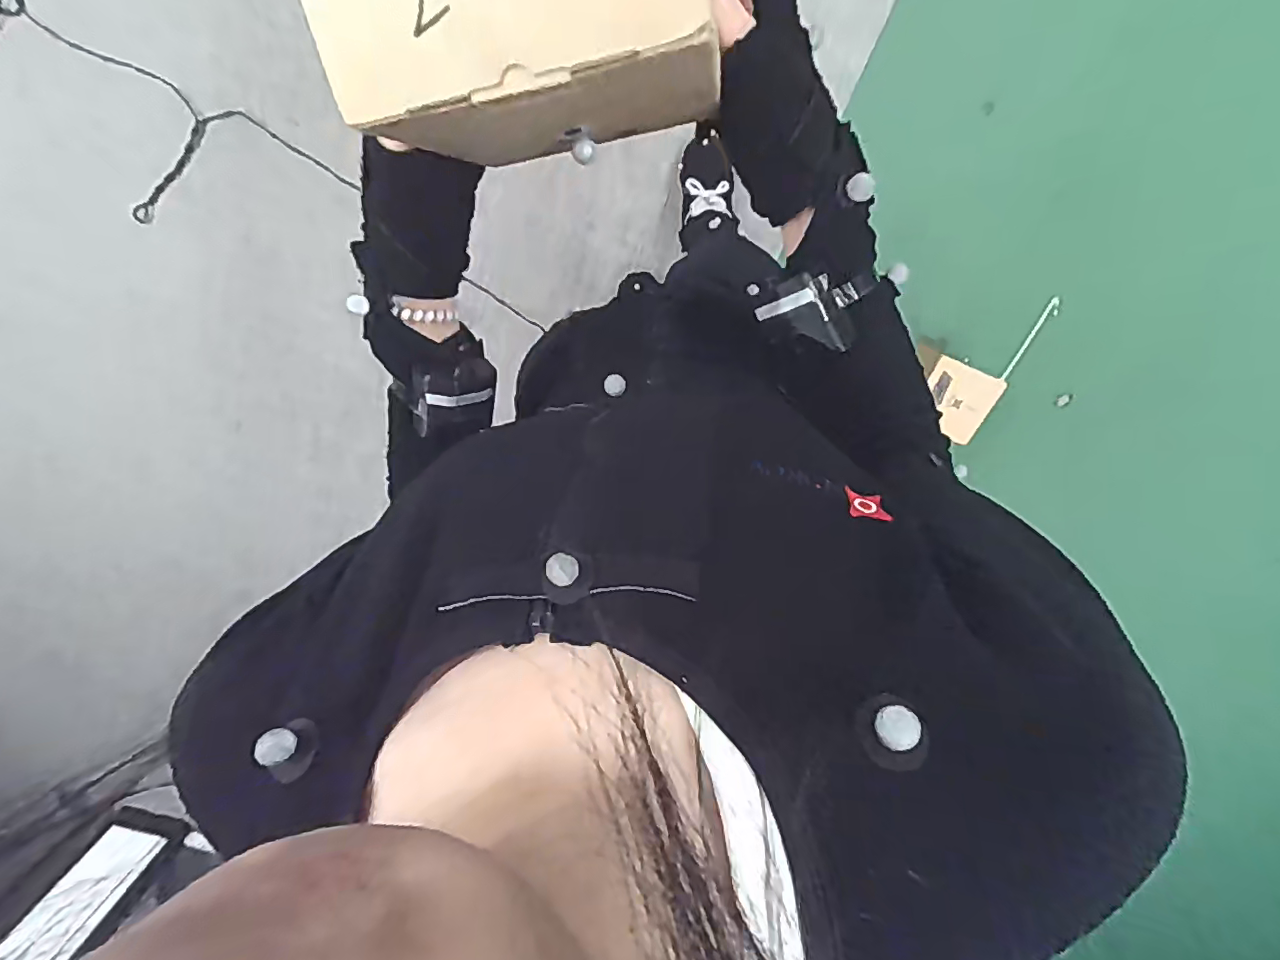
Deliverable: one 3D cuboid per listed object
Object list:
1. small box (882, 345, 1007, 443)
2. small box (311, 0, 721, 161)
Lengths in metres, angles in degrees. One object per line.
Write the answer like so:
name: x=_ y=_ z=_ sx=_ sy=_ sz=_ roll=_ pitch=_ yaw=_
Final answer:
small box: x=0.728 y=-0.217 z=1.318 sx=0.179 sy=0.176 sz=0.168 roll=20 pitch=114 yaw=-7
small box: x=-0.052 y=-0.277 z=0.264 sx=0.168 sy=0.176 sz=0.179 roll=-6 pitch=115 yaw=11
